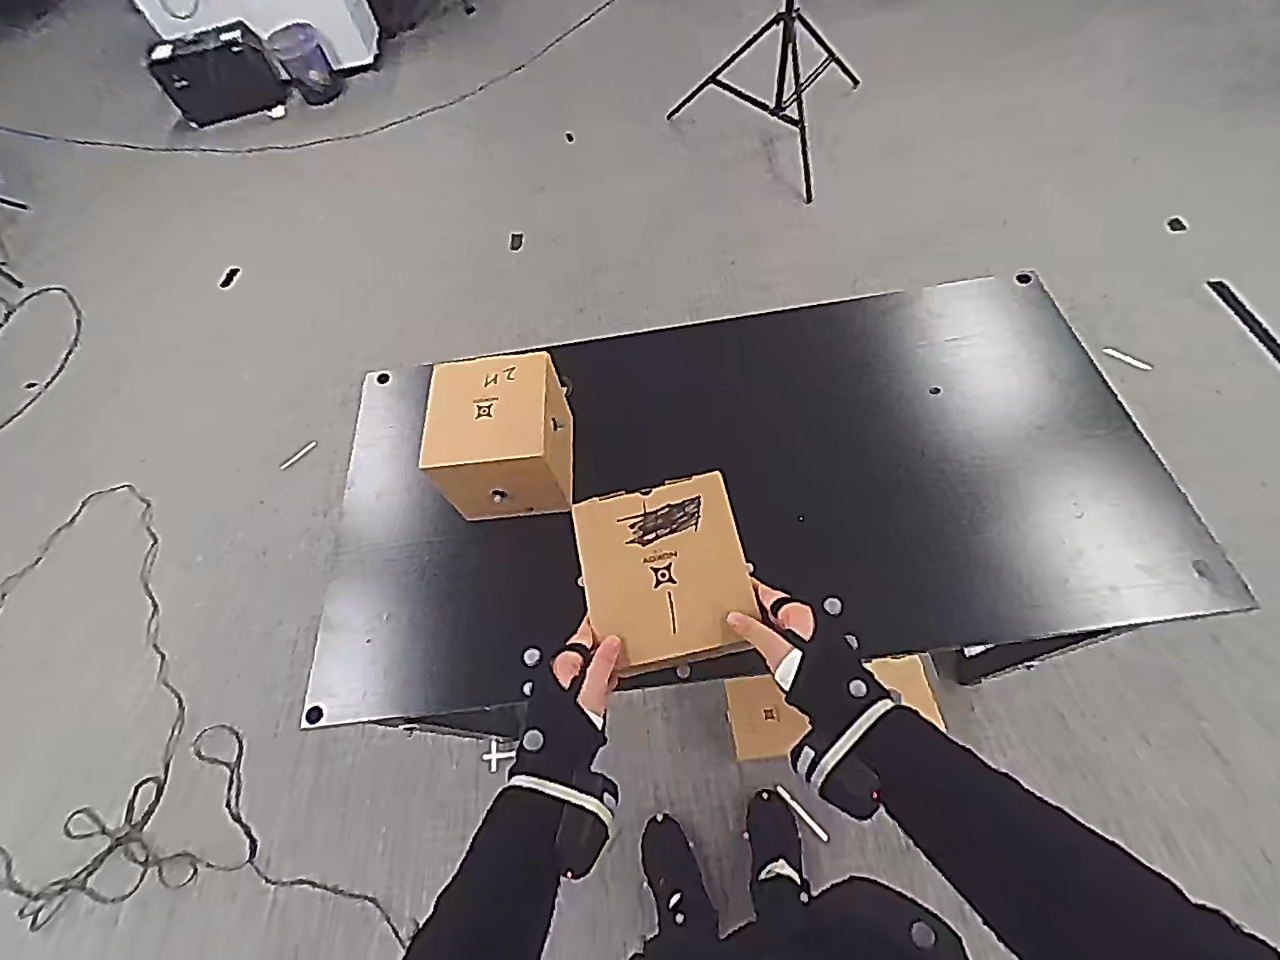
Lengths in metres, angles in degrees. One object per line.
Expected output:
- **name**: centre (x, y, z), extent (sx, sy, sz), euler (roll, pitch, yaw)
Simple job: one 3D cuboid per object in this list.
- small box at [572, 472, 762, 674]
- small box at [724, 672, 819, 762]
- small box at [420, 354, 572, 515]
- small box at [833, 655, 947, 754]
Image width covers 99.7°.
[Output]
- **small box**: centre (0.029, 0.115, 0.618), extent (0.168, 0.176, 0.179), euler (-13, 68, 2)
- **small box**: centre (0.292, 0.547, 1.241), extent (0.179, 0.176, 0.168), euler (-9, 60, 3)
- **small box**: centre (-0.199, -0.058, 0.799), extent (0.168, 0.176, 0.179), euler (-6, 61, 4)
- **small box**: centre (0.552, 0.511, 1.224), extent (0.168, 0.176, 0.179), euler (-10, 60, 3)
